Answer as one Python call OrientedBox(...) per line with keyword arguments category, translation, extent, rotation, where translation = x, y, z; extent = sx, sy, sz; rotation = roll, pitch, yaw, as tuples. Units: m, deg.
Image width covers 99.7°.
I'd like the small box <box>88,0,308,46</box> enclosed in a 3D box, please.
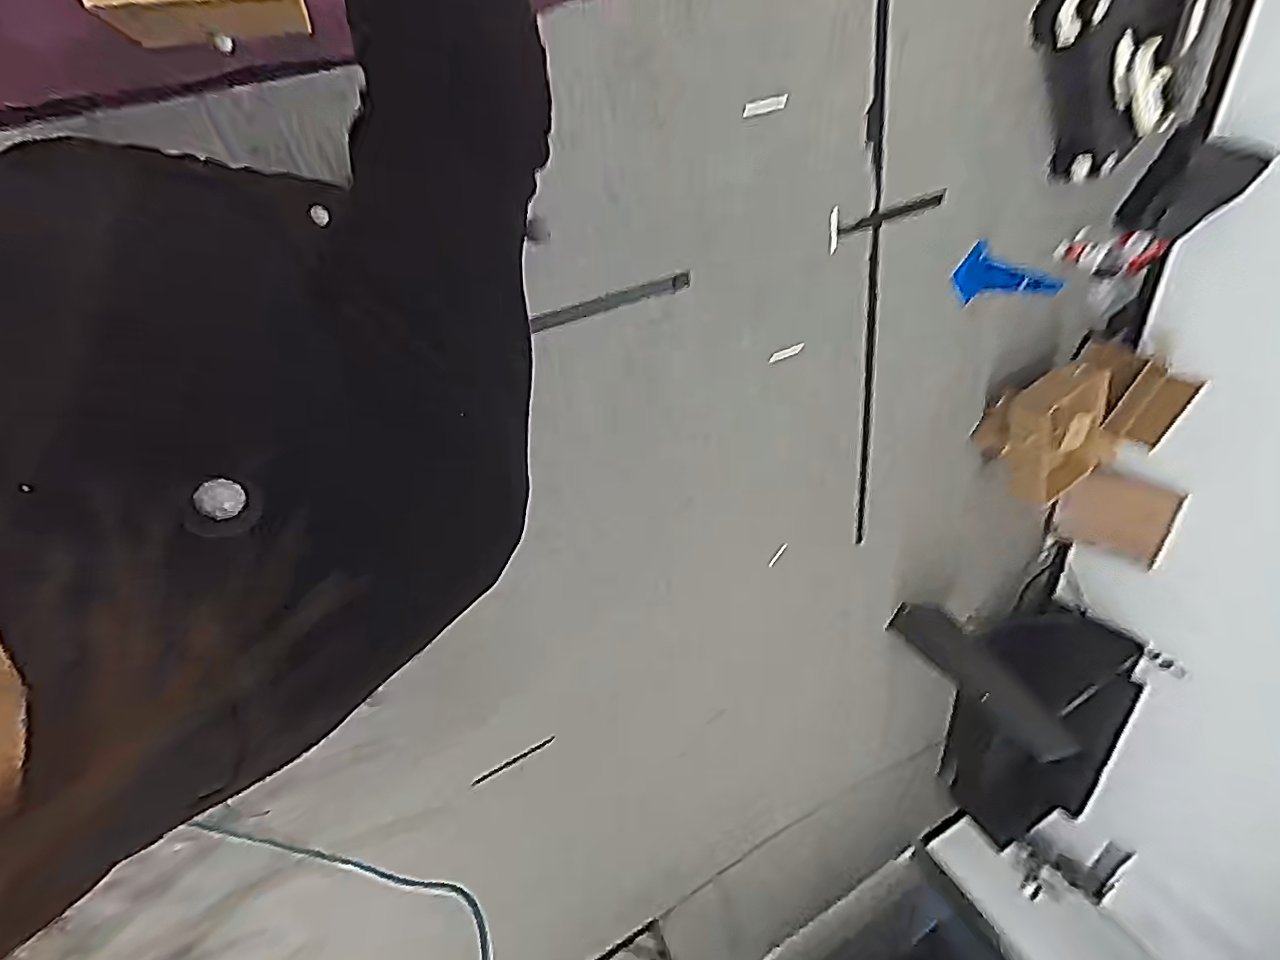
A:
OrientedBox(category="small box", translation=(-0.424, -0.520, 0.482), extent=(0.168, 0.176, 0.179), rotation=(-20, 125, -16))
